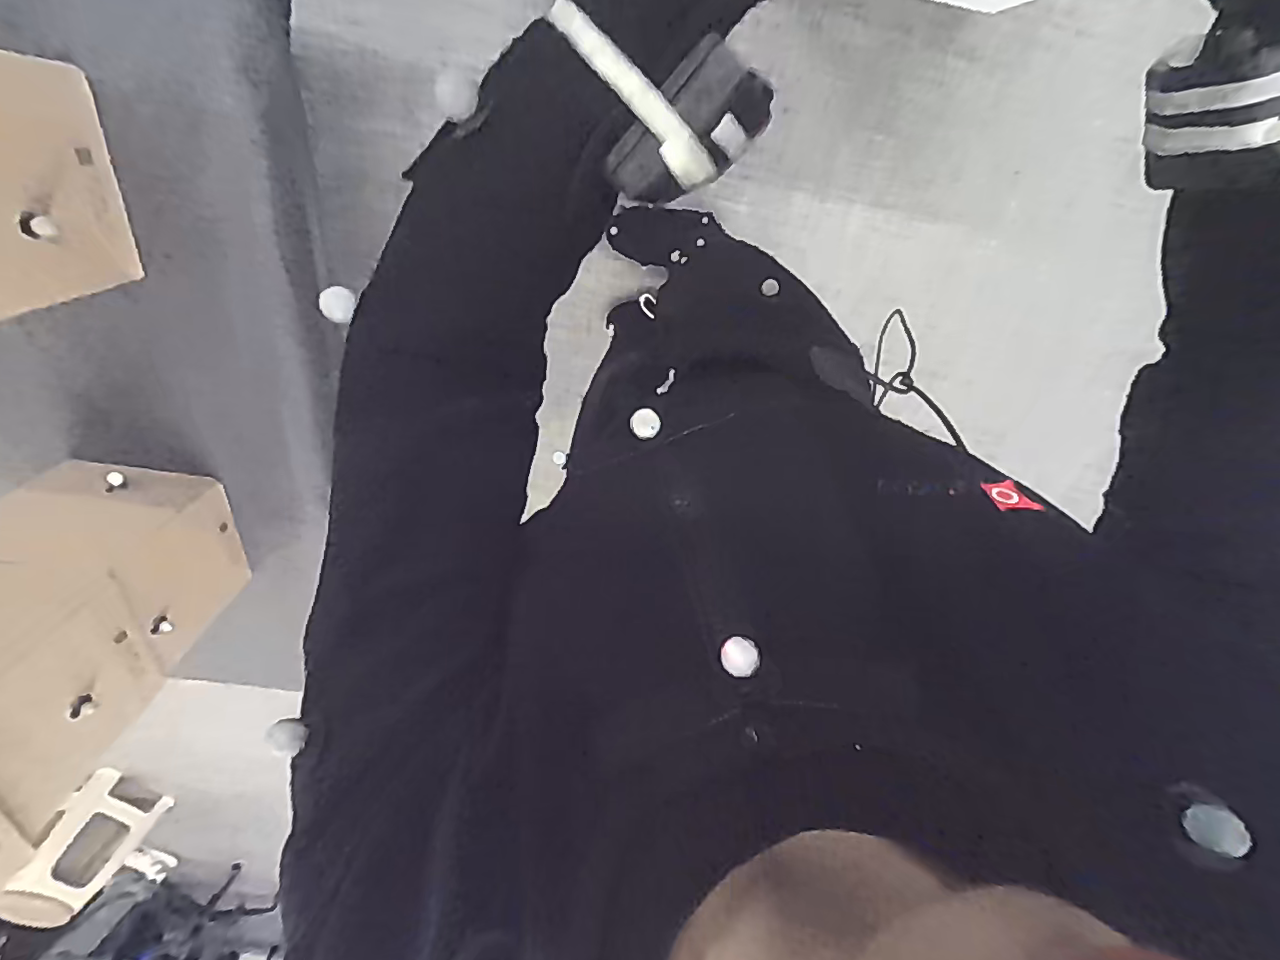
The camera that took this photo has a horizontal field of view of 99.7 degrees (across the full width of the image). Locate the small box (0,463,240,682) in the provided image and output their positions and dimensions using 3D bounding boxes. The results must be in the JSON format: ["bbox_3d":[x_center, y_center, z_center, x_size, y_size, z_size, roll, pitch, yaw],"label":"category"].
[{"bbox_3d":[-0.606,0.097,0.608,0.179,0.176,0.168,8,123,-4],"label":"small box"}]

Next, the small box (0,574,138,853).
[{"bbox_3d":[-0.601,0.192,0.473,0.179,0.176,0.168,8,122,-5],"label":"small box"}]

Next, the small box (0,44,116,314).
[{"bbox_3d":[-0.546,-0.234,0.394,0.179,0.176,0.168,10,123,-6],"label":"small box"}]
